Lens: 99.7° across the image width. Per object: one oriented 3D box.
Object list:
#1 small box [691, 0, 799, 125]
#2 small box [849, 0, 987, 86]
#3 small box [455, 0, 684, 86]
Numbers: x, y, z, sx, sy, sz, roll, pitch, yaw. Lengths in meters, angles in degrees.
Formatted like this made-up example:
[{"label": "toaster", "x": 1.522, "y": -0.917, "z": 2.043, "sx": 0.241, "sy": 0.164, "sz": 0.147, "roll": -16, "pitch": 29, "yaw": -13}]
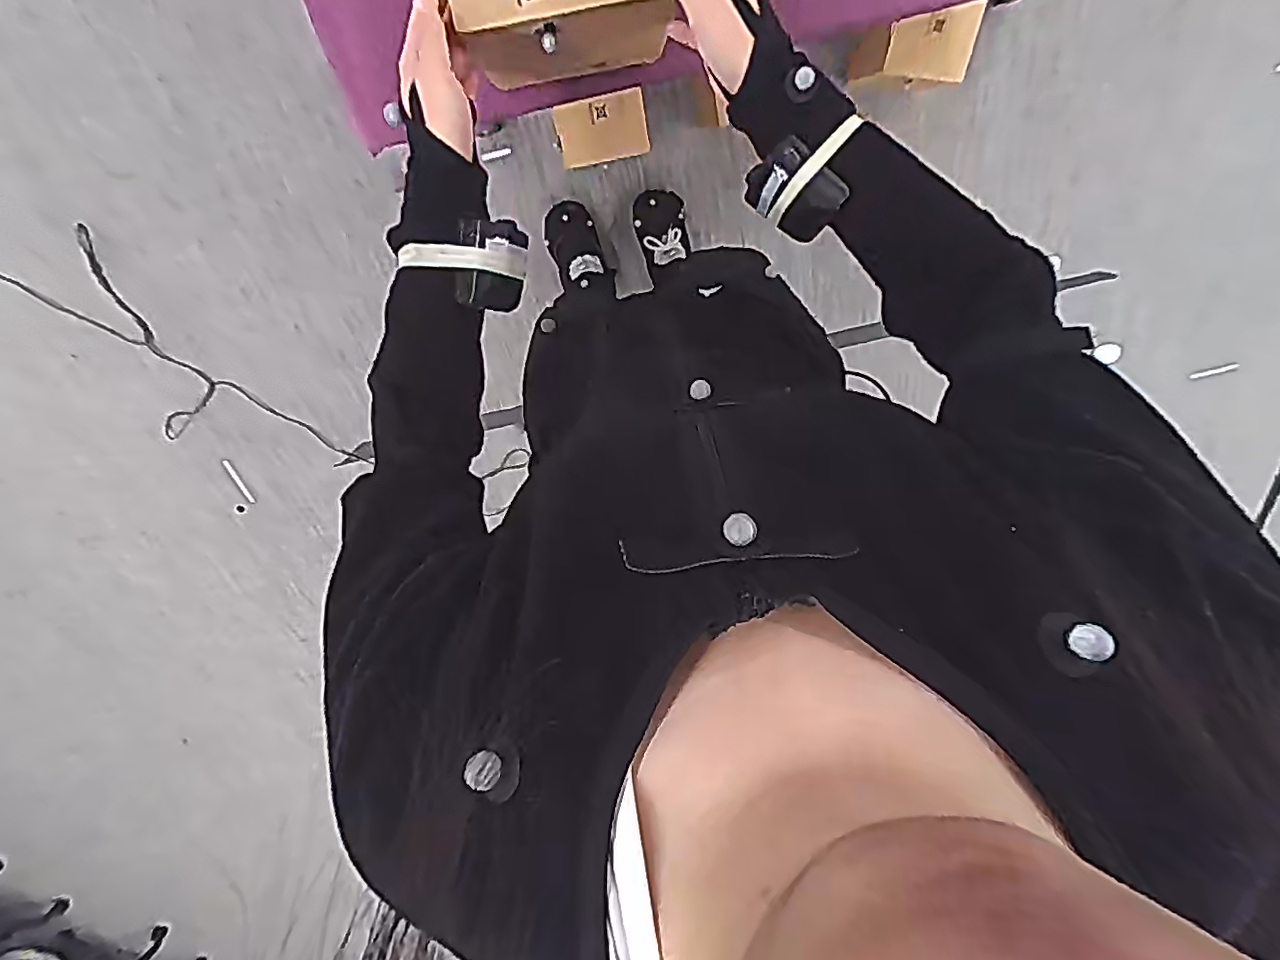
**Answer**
[{"label": "small box", "x": 0.206, "y": -0.835, "z": 1.085, "sx": 0.168, "sy": 0.176, "sz": 0.179, "roll": -15, "pitch": 122, "yaw": 1}, {"label": "small box", "x": 0.555, "y": -0.909, "z": 1.090, "sx": 0.179, "sy": 0.176, "sz": 0.168, "roll": 1, "pitch": 121, "yaw": -7}, {"label": "small box", "x": -0.066, "y": -0.440, "z": 0.416, "sx": 0.168, "sy": 0.176, "sz": 0.179, "roll": -11, "pitch": 115, "yaw": 1}]
